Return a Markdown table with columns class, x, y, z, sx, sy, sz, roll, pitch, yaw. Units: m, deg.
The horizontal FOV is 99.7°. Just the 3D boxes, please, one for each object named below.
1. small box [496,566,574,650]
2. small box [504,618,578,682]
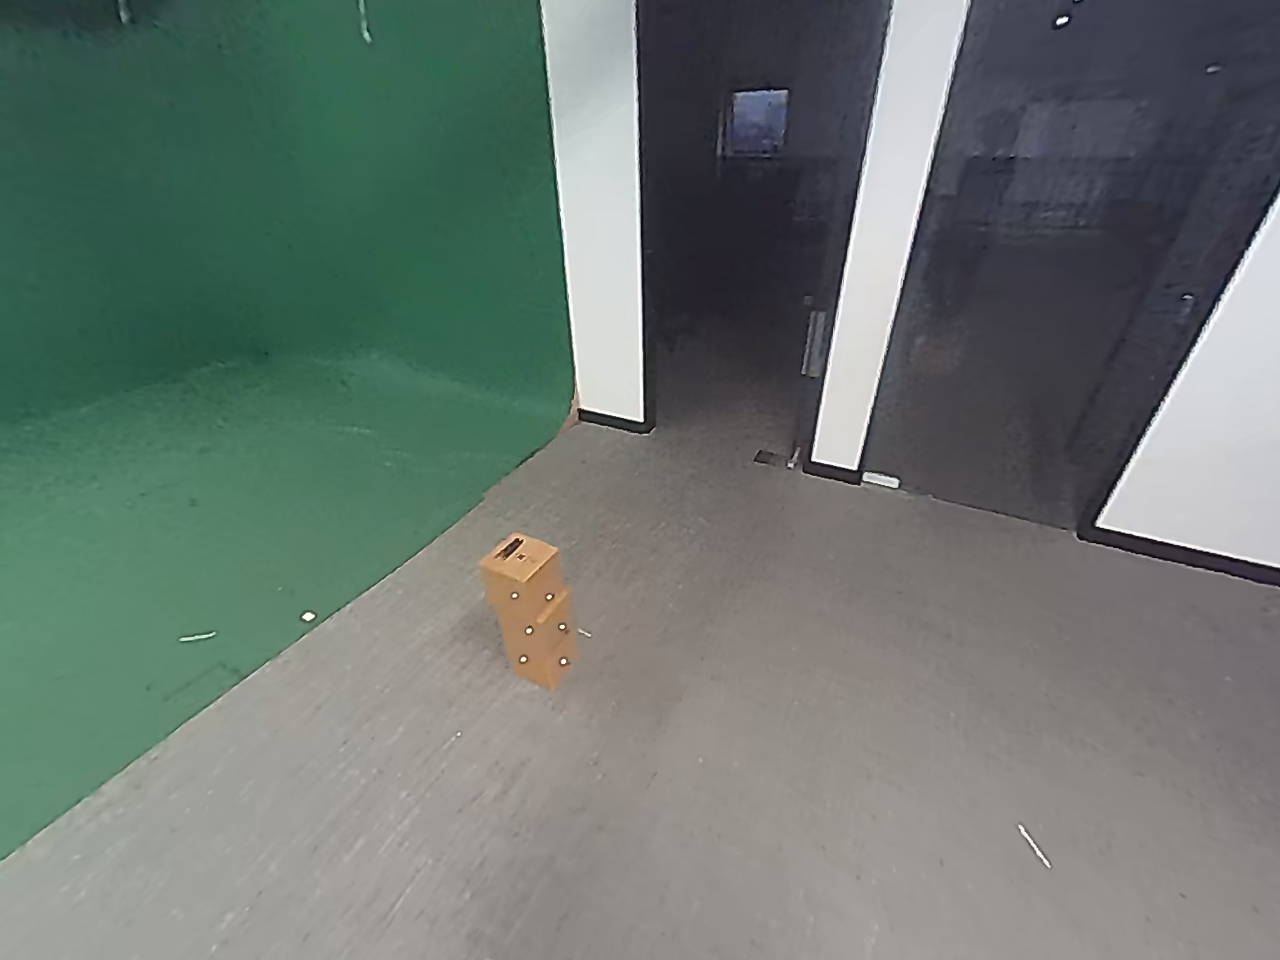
| class | x | y | z | sx | sy | sz | roll | pitch | yaw |
| --- | --- | --- | --- | --- | --- | --- | --- | --- | --- |
| small box | -0.325 | 0.410 | 1.713 | 0.179 | 0.176 | 0.168 | 15 | 38 | 23 |
| small box | -0.324 | 0.544 | 1.809 | 0.179 | 0.176 | 0.168 | 15 | 38 | 23 |
